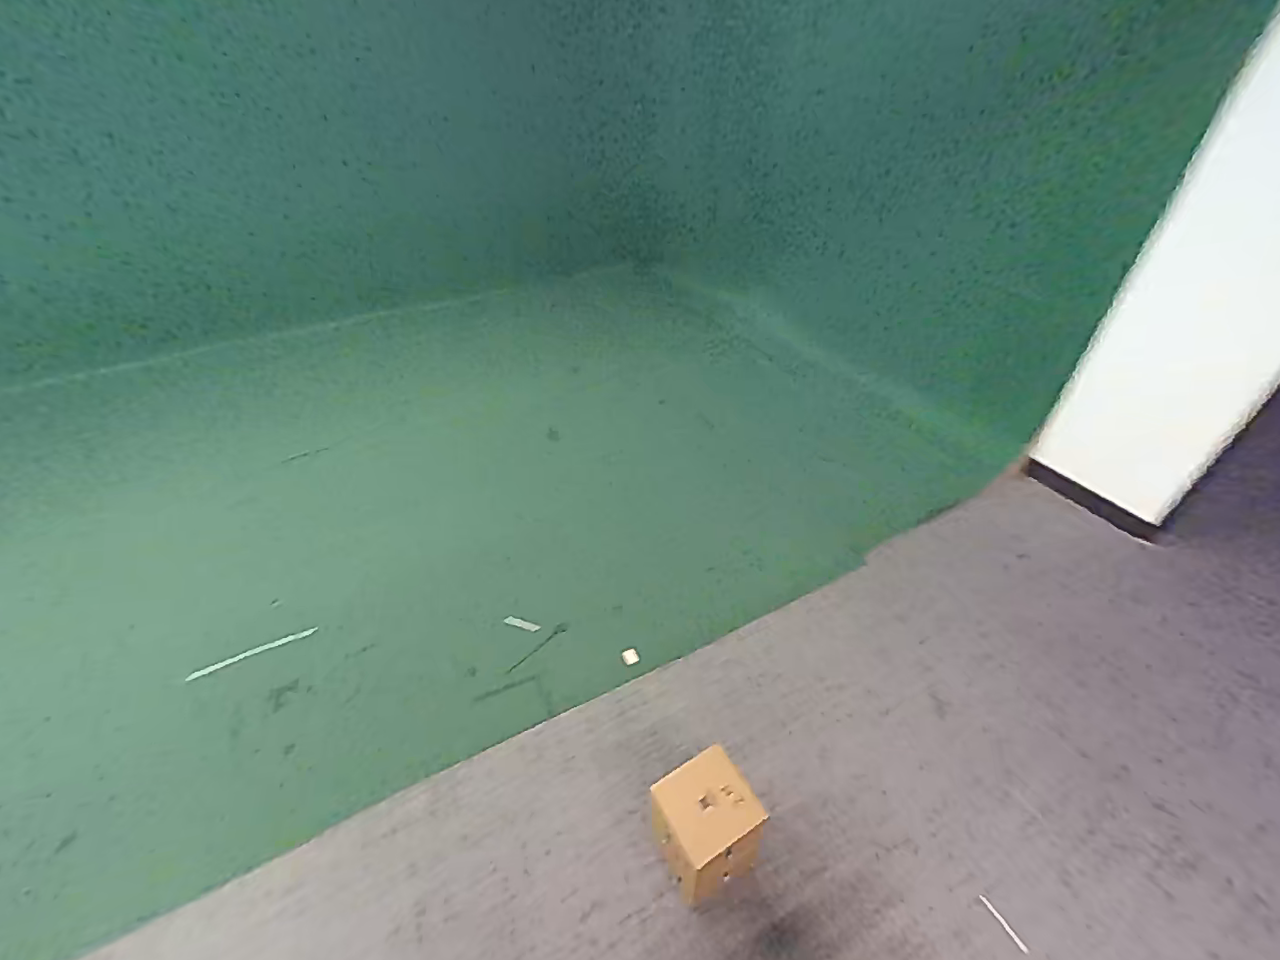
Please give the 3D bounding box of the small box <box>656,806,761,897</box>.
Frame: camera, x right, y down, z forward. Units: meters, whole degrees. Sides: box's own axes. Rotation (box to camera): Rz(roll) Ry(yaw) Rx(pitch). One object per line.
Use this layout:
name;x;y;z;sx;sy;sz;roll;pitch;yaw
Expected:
small box;0.153;0.811;1.239;0.179;0.176;0.168;-21;45;-20

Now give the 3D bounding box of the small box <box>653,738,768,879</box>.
small box;0.143;0.688;1.130;0.179;0.176;0.168;-22;46;-20
